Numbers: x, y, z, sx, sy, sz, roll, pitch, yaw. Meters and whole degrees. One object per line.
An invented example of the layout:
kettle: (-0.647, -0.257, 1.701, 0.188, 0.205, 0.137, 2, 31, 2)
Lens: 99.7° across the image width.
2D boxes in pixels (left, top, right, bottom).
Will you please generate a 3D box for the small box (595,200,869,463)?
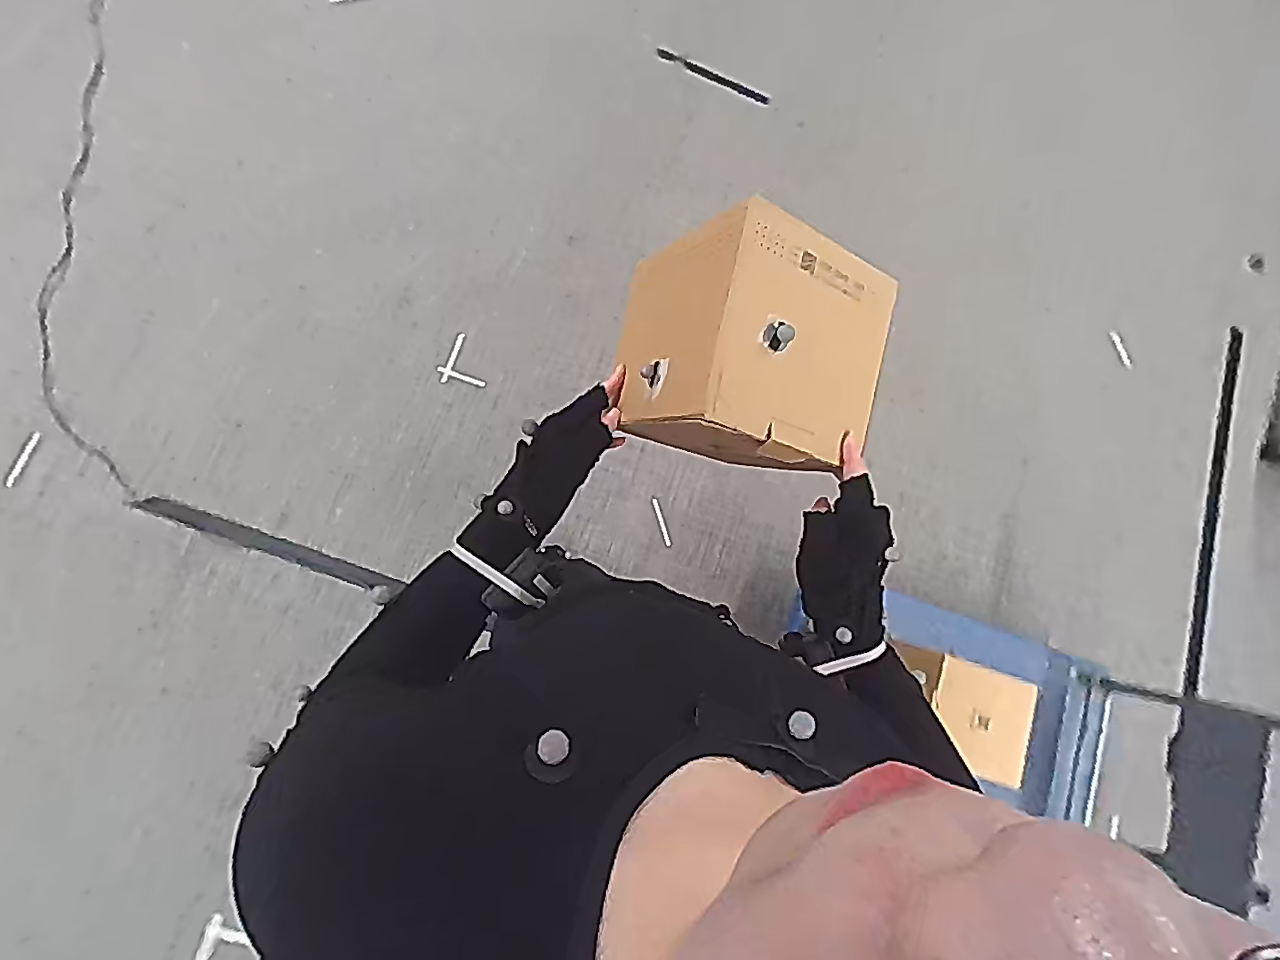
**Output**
small box: (0.082, -0.116, 0.487, 0.168, 0.179, 0.176, 14, 87, -30)

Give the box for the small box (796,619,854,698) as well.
small box: (0.494, 0.436, 1.275, 0.179, 0.176, 0.168, 19, 81, -5)

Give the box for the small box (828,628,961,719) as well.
small box: (0.514, 0.412, 1.113, 0.179, 0.176, 0.168, 17, 81, -4)

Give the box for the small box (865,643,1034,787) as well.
small box: (0.535, 0.400, 0.952, 0.179, 0.176, 0.168, 20, 80, -4)

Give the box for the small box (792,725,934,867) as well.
small box: (0.434, 0.614, 1.075, 0.179, 0.176, 0.168, 22, 80, -3)
